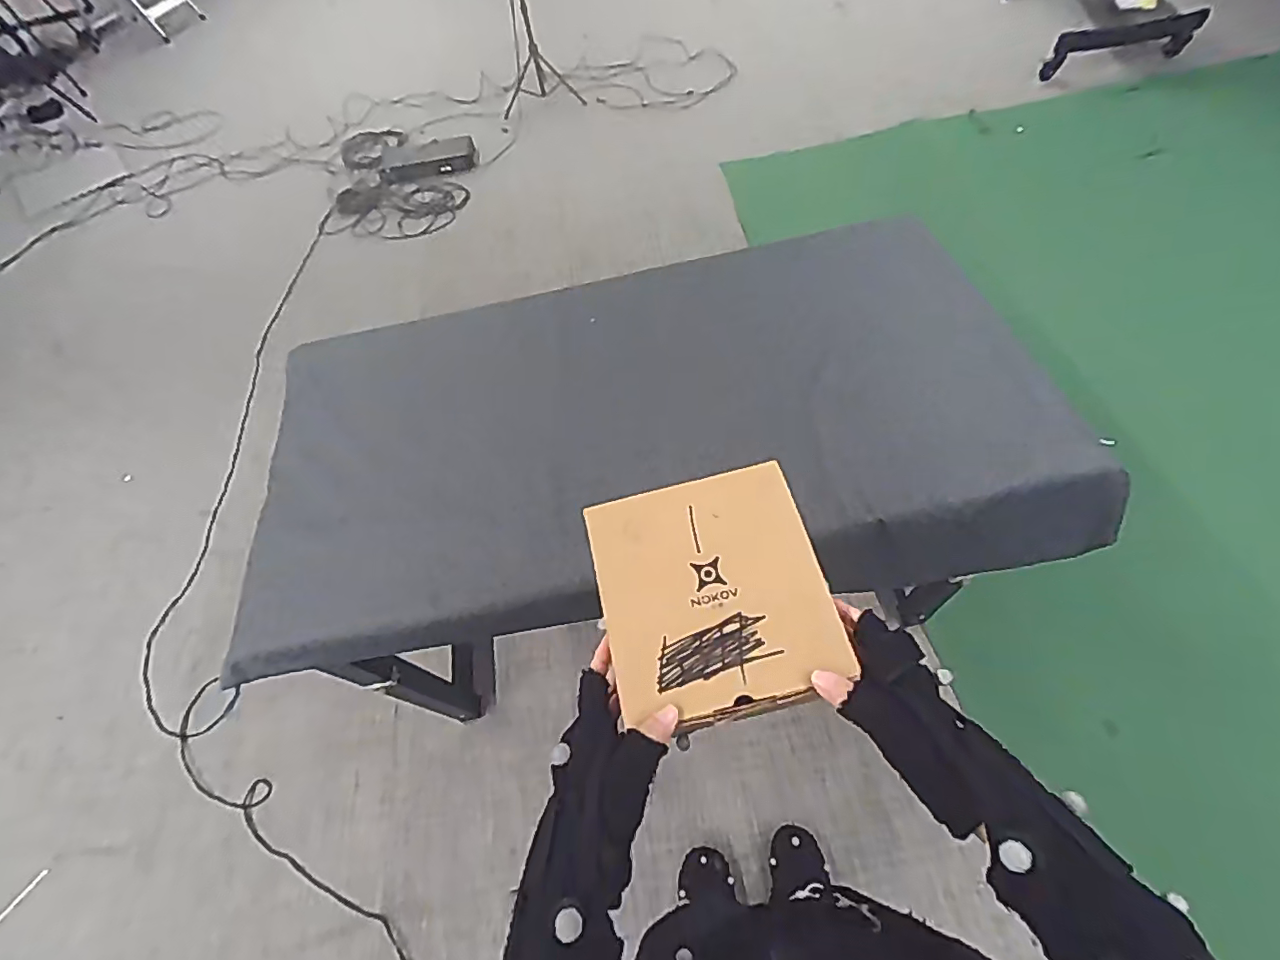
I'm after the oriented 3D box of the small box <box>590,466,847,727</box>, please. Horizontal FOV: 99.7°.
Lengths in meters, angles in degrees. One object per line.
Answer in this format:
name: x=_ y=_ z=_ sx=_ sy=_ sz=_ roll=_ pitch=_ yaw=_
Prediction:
small box: x=0.061 y=0.114 z=0.484 sx=0.168 sy=0.176 sz=0.179 roll=-12 pitch=62 yaw=0
